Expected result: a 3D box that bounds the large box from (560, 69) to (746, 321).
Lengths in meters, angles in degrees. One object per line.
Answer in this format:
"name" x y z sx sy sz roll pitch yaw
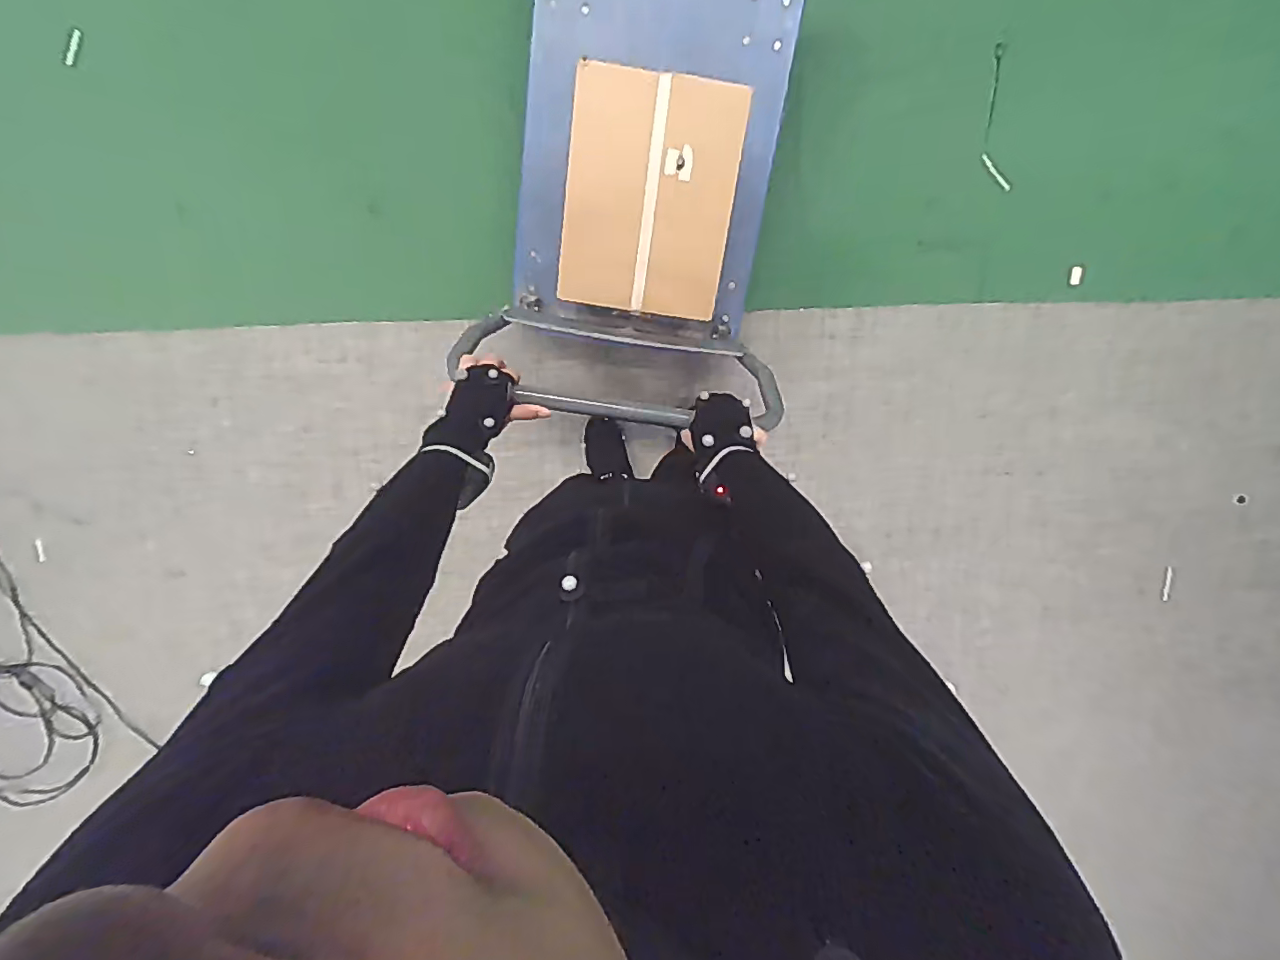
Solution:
"large box" 0.017 -0.568 1.165 0.320 0.320 0.408 8 108 -3
